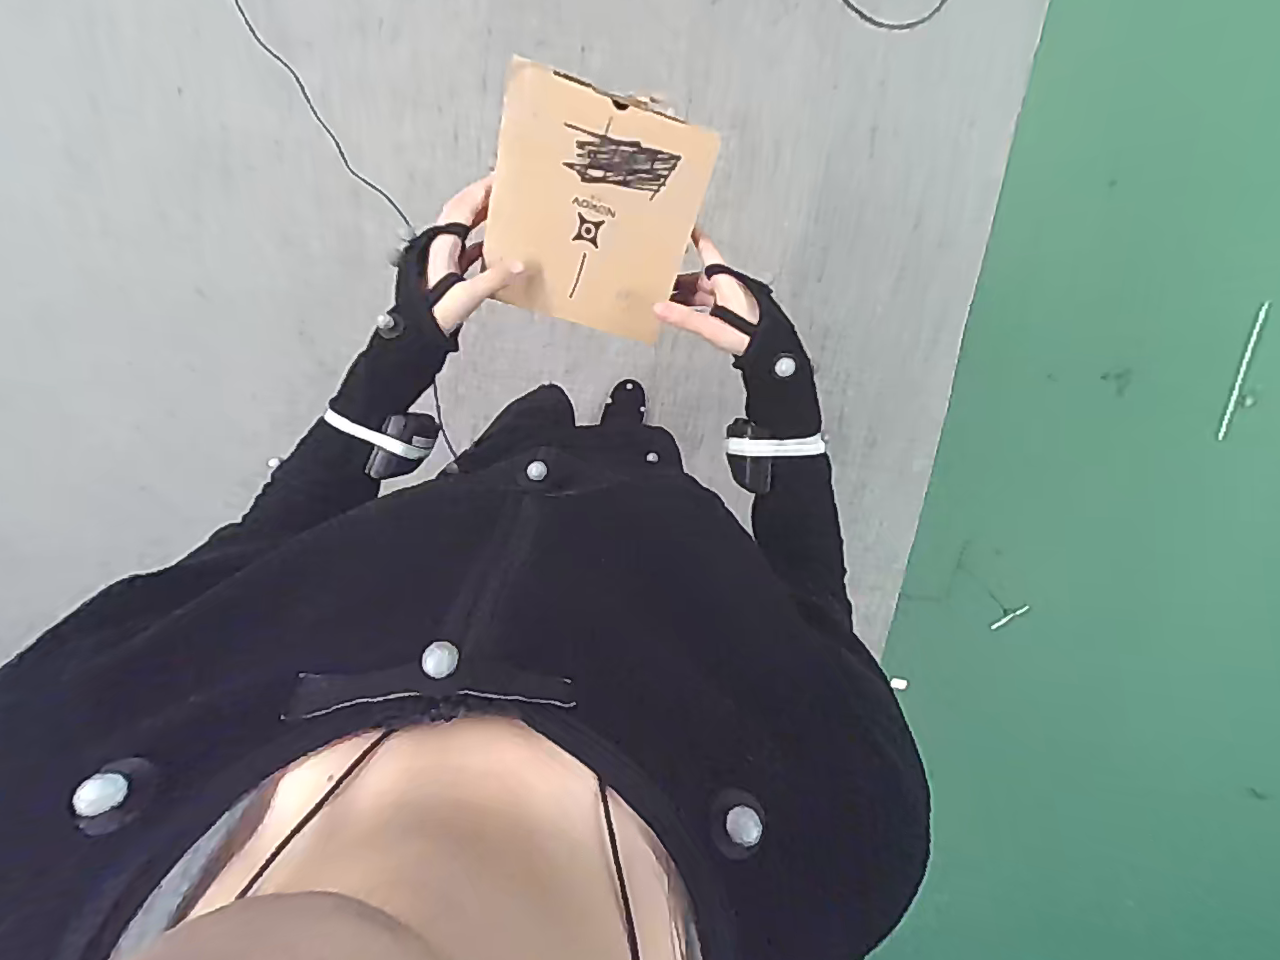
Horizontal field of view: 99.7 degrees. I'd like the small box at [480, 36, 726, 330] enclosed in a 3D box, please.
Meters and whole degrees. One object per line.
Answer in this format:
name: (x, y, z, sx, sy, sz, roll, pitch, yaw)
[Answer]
small box: (-0.041, -0.270, 0.507, 0.168, 0.176, 0.179, 13, 122, -12)
